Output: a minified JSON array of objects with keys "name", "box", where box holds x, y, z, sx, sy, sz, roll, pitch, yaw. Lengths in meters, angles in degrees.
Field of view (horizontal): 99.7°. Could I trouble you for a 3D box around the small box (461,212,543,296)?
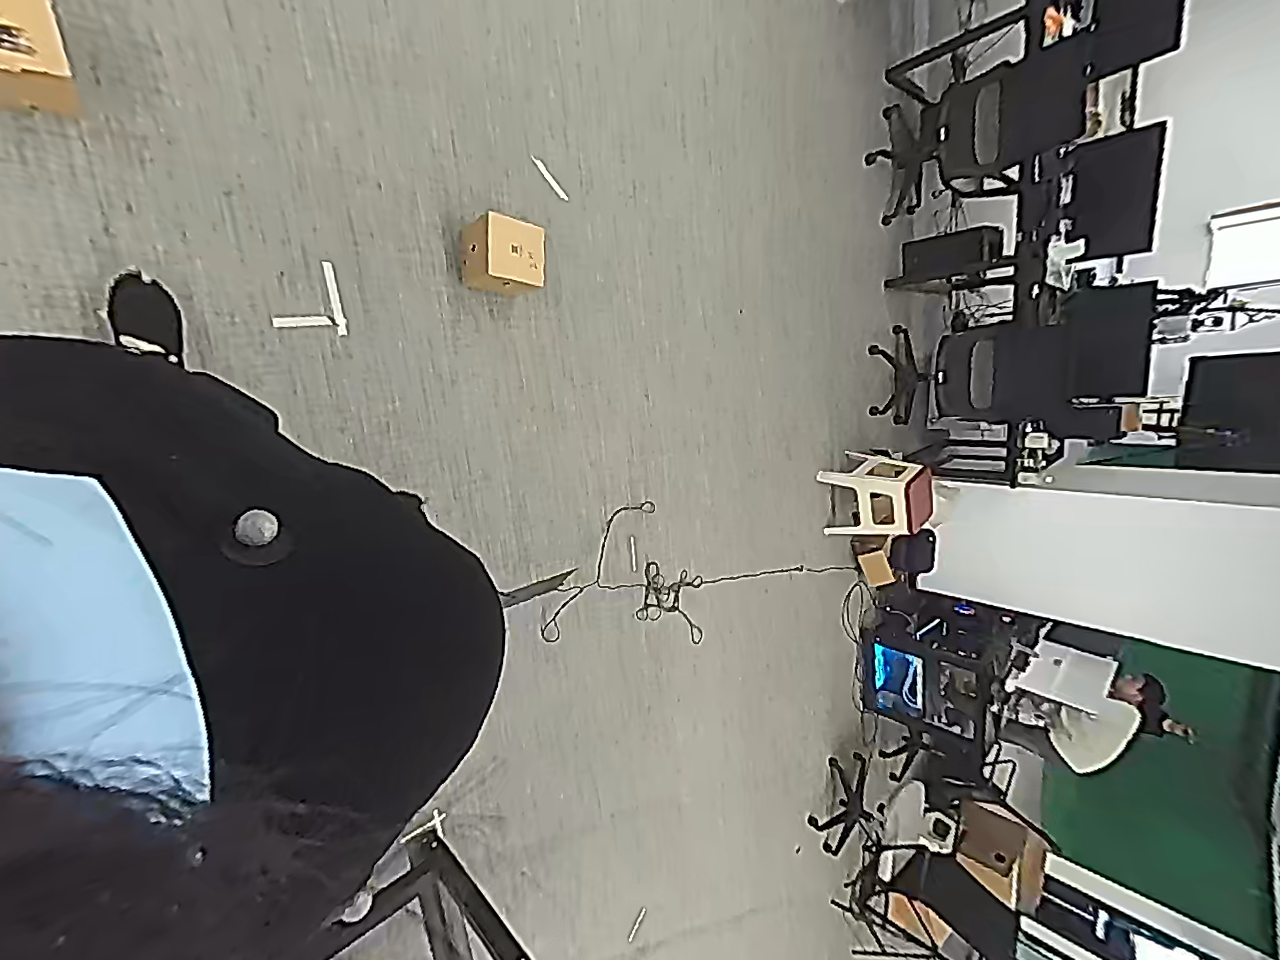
[{"name":"small box","box":[-0.396,-0.634,1.541,0.179,0.176,0.168,-2,97,-43]}]
